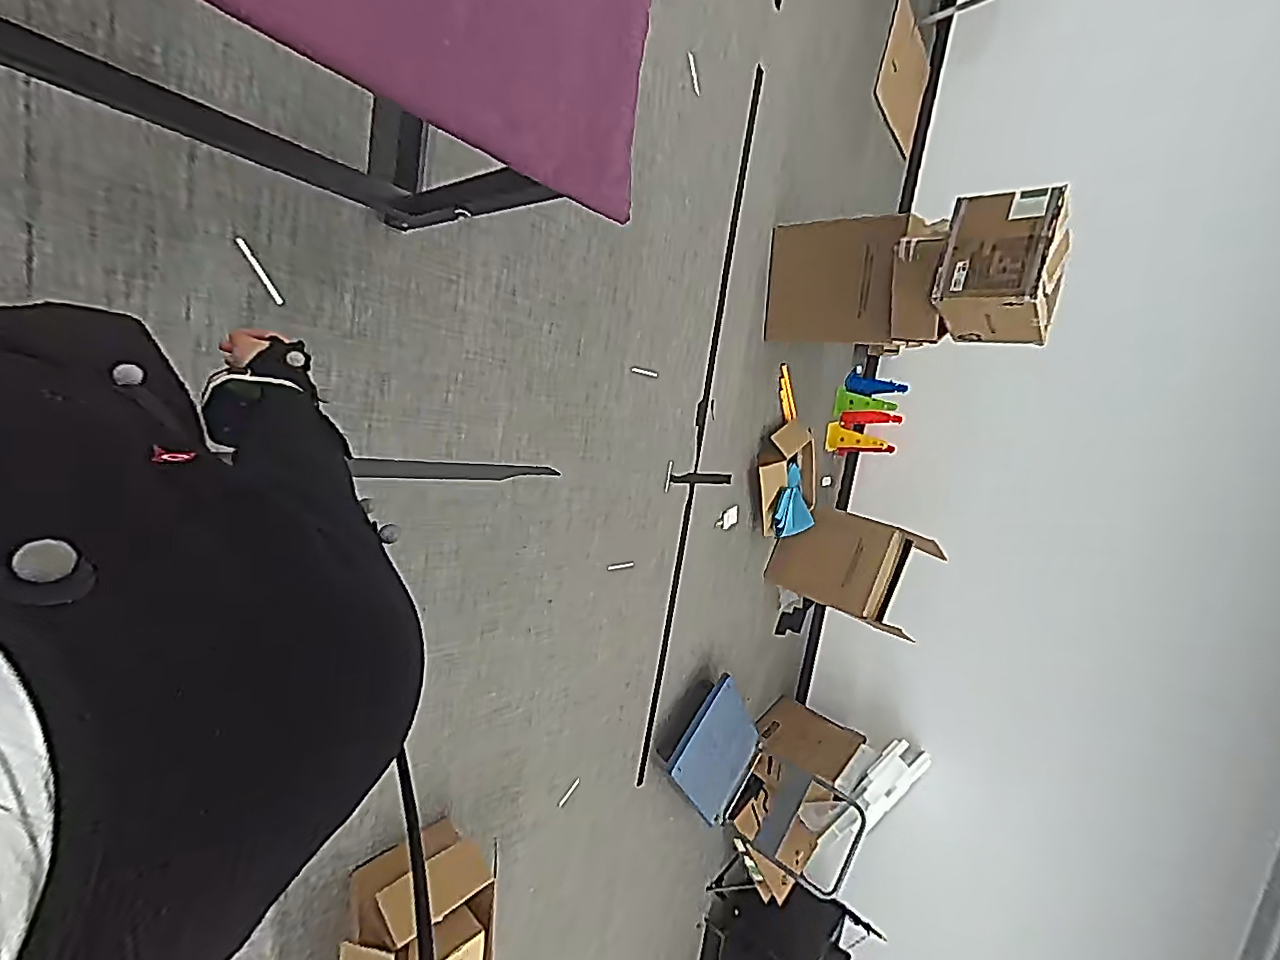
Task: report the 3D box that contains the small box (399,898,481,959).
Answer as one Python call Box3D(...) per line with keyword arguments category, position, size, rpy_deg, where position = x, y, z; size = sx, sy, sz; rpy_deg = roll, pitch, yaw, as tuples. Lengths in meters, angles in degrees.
Box3D(category="small box", position=(-0.589, 1.394, 1.585), size=(0.168, 0.176, 0.179), rpy_deg=(-5, 105, -50))
